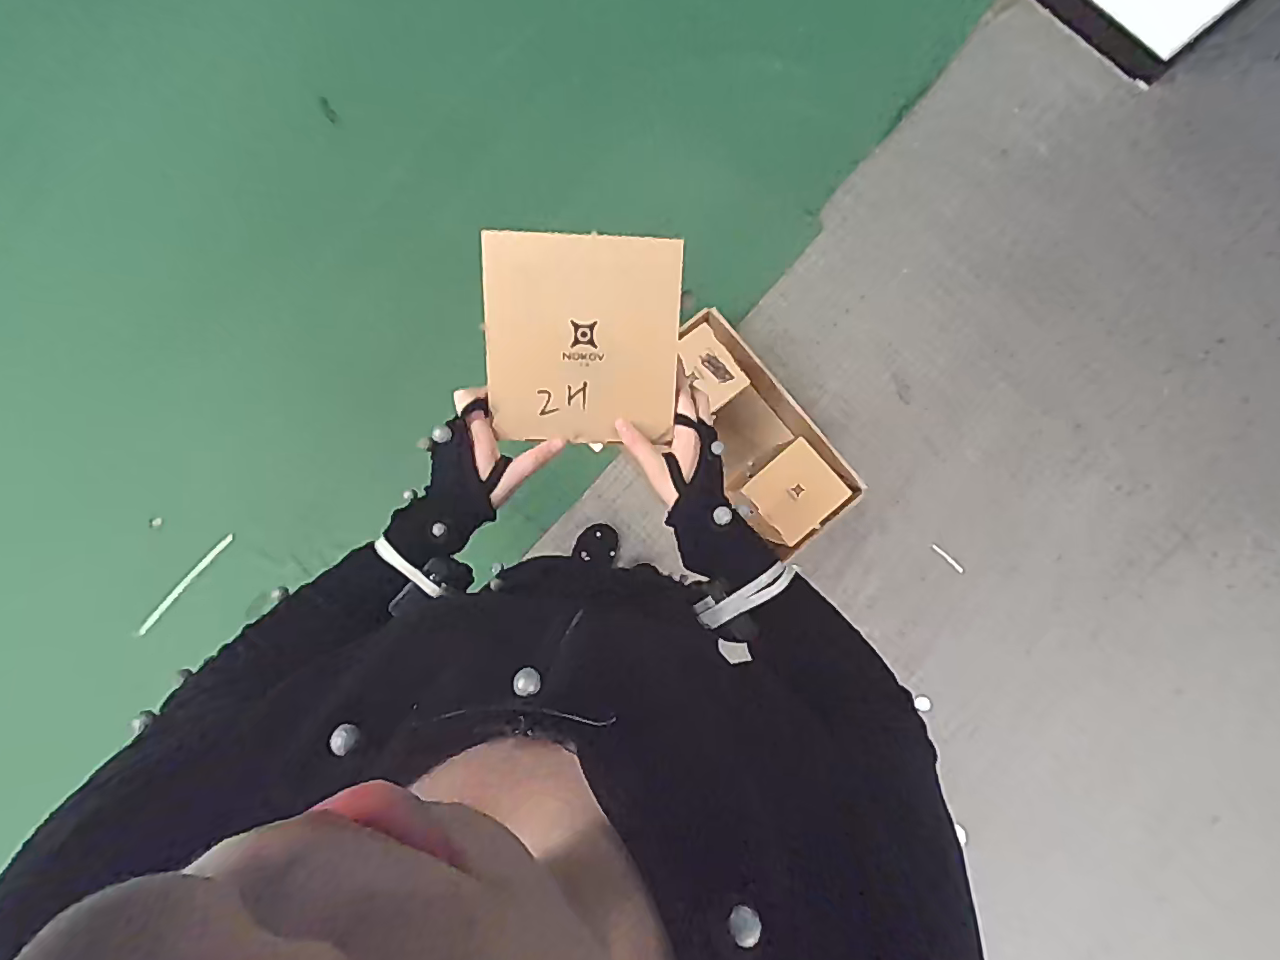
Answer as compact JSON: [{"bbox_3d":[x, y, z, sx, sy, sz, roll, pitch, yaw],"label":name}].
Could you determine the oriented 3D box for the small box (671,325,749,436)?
[{"bbox_3d":[0.117,-0.217,1.230,0.179,0.176,0.168,-36,90,0],"label":"small box"}]

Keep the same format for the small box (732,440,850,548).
[{"bbox_3d":[0.329,0.030,1.223,0.179,0.176,0.168,-40,88,-1],"label":"small box"}]

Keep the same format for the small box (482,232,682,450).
[{"bbox_3d":[-0.054,-0.136,0.537,0.168,0.176,0.179,2,107,-2],"label":"small box"}]
